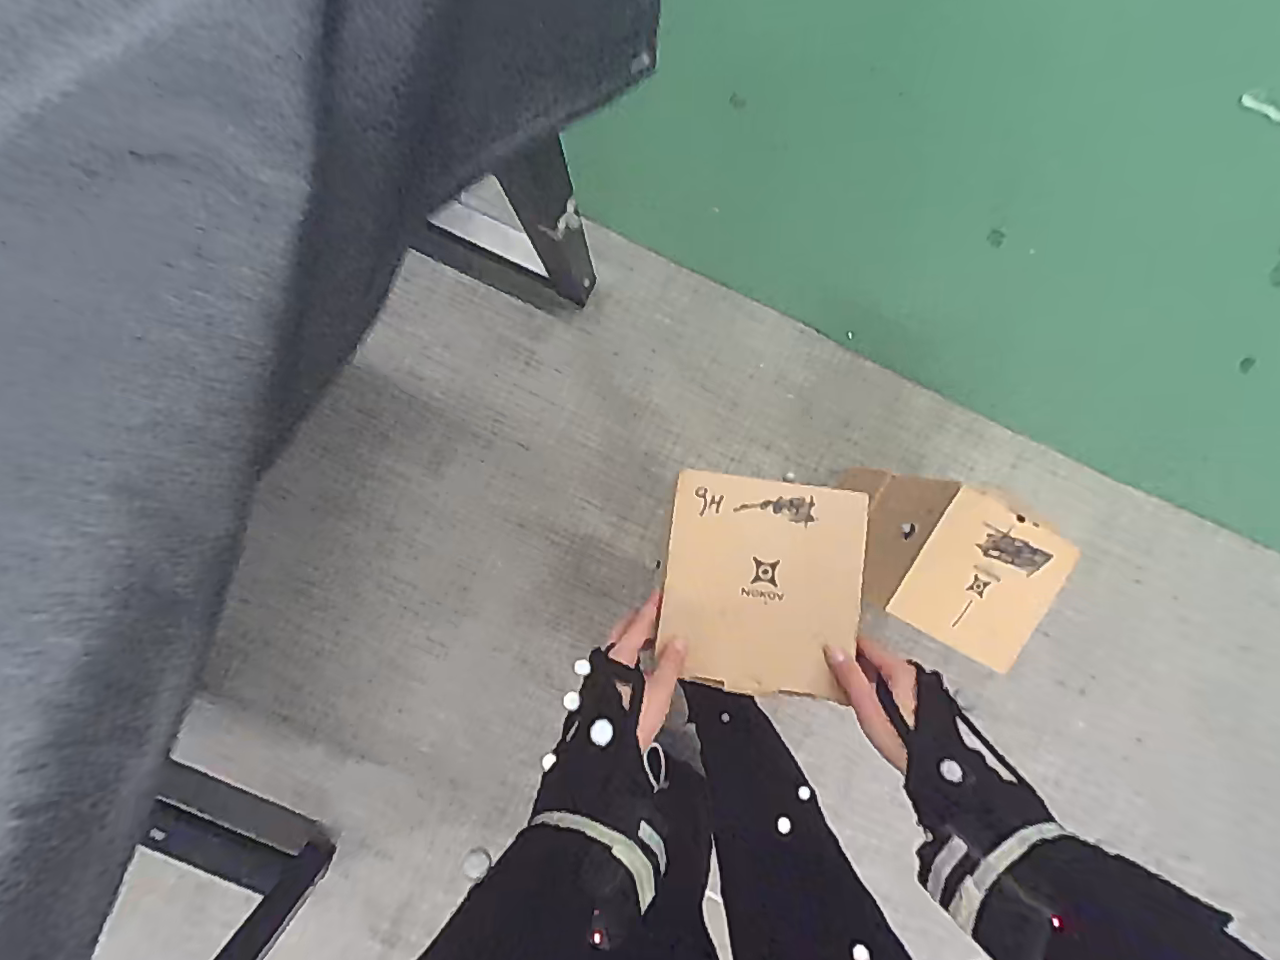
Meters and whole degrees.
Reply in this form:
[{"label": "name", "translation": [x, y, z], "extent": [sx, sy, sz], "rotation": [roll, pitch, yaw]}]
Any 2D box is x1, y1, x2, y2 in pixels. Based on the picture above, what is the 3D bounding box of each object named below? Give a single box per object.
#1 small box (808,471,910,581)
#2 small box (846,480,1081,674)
[{"label": "small box", "translation": [0.398, 0.096, 0.875], "extent": [0.168, 0.176, 0.179], "rotation": [30, 94, -1]}, {"label": "small box", "translation": [0.403, 0.111, 0.711], "extent": [0.168, 0.176, 0.179], "rotation": [29, 94, -1]}]
